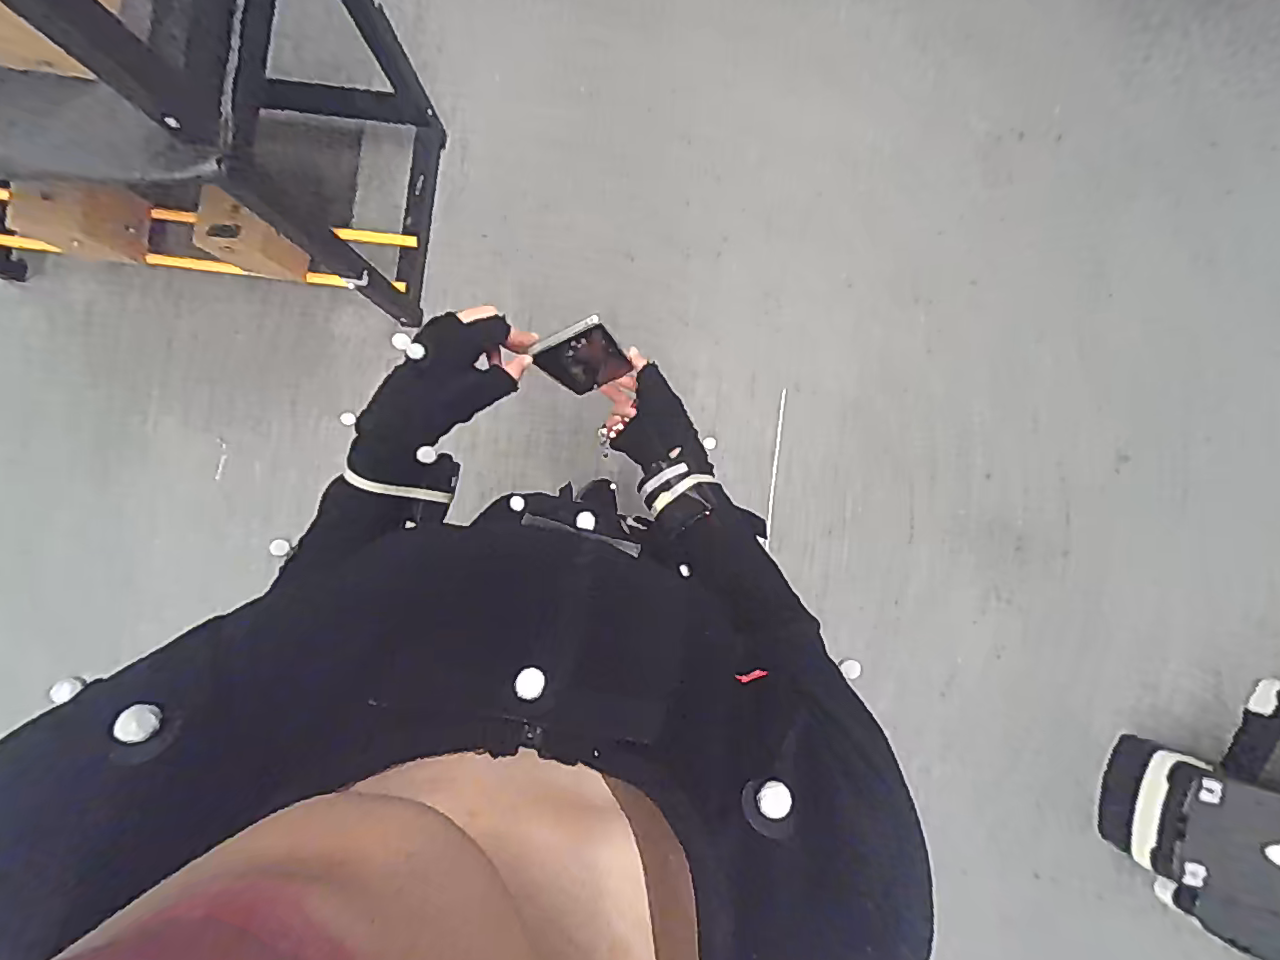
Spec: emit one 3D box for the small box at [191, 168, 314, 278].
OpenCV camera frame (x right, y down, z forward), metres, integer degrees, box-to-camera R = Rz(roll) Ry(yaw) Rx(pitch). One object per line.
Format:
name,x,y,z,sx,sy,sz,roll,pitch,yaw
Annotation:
small box,-0.932,-0.615,1.317,0.168,0.176,0.179,10,88,0
